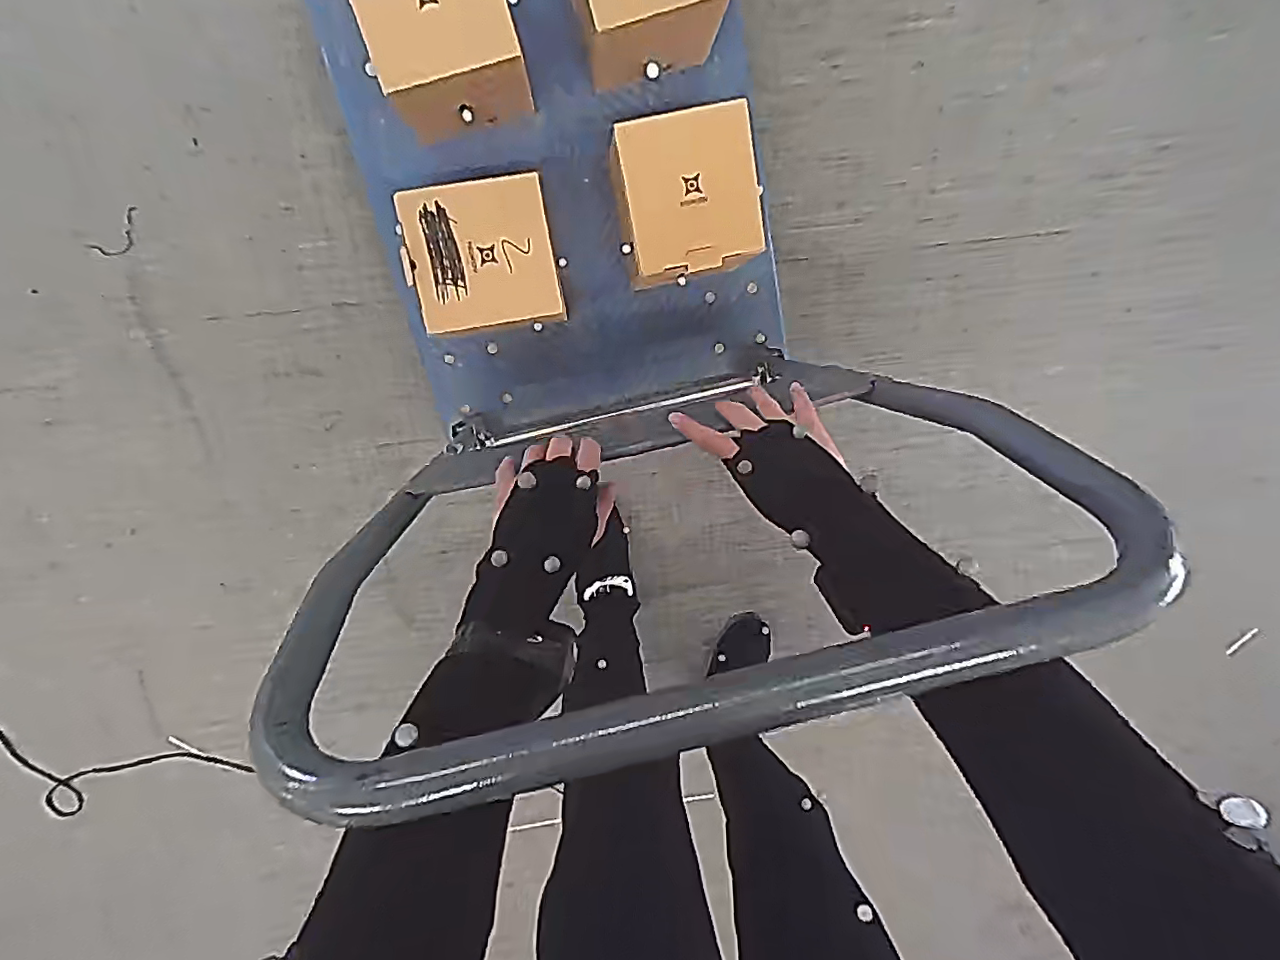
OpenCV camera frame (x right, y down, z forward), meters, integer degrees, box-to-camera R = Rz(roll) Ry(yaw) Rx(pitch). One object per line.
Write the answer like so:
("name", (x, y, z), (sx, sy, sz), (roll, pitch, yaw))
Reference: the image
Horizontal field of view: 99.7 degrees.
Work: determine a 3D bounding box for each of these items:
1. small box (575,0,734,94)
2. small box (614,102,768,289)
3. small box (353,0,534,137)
("small box", (0.003, -0.628, 0.669), (0.168, 0.176, 0.179), (-16, 106, 0))
("small box", (0.061, -0.373, 0.740), (0.168, 0.176, 0.179), (-12, 105, -2))
("small box", (-0.238, -0.555, 0.668), (0.168, 0.176, 0.179), (-16, 105, -1))
